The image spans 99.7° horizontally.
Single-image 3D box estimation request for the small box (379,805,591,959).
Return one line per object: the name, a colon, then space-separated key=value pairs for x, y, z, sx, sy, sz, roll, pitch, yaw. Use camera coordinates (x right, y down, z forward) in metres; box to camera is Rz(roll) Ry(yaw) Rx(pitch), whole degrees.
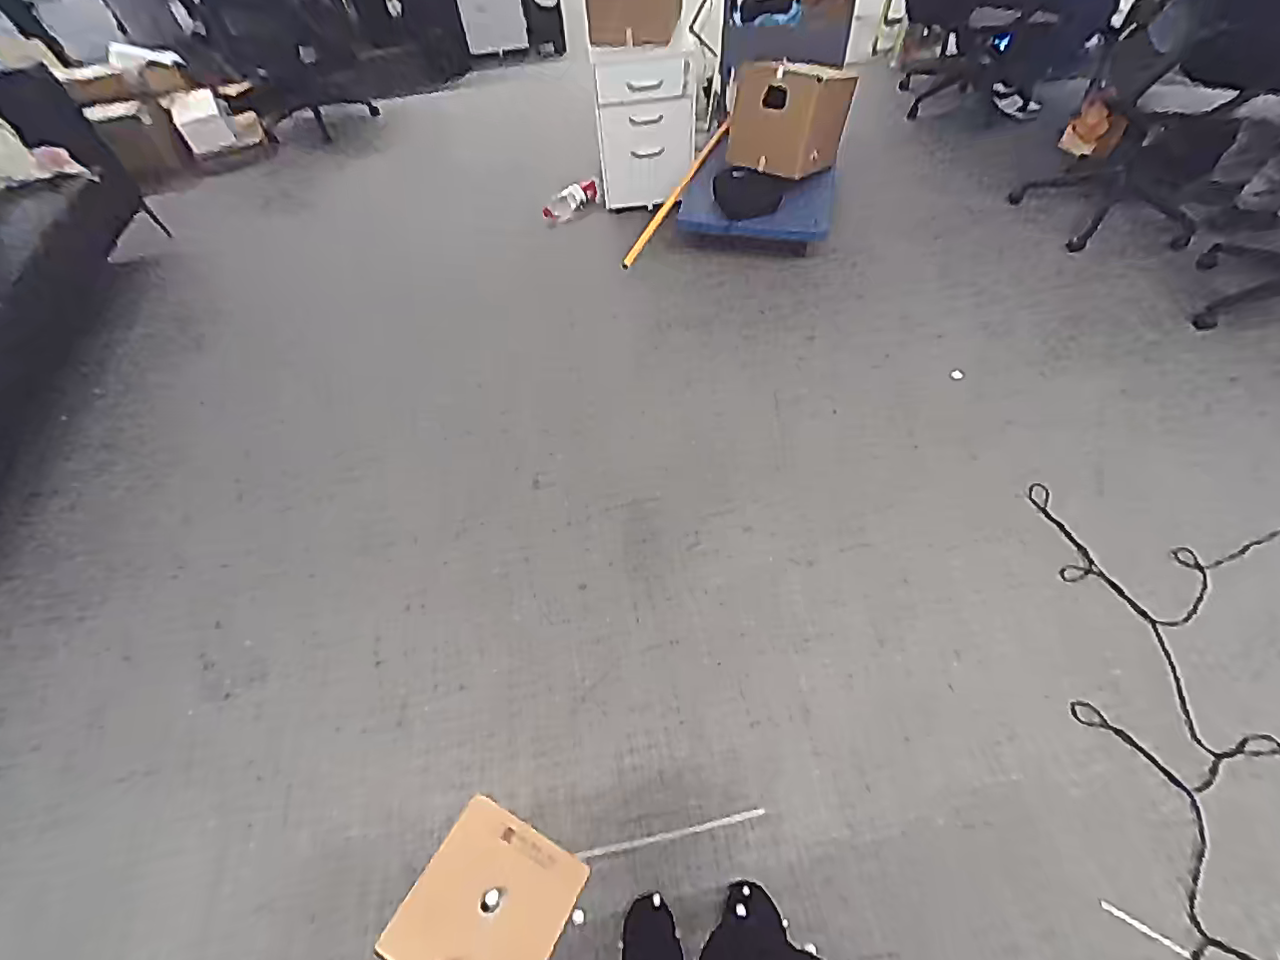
small box: x=-0.173 y=0.527 z=0.647 sx=0.168 sy=0.179 sz=0.176 roll=26 pitch=46 yaw=13
